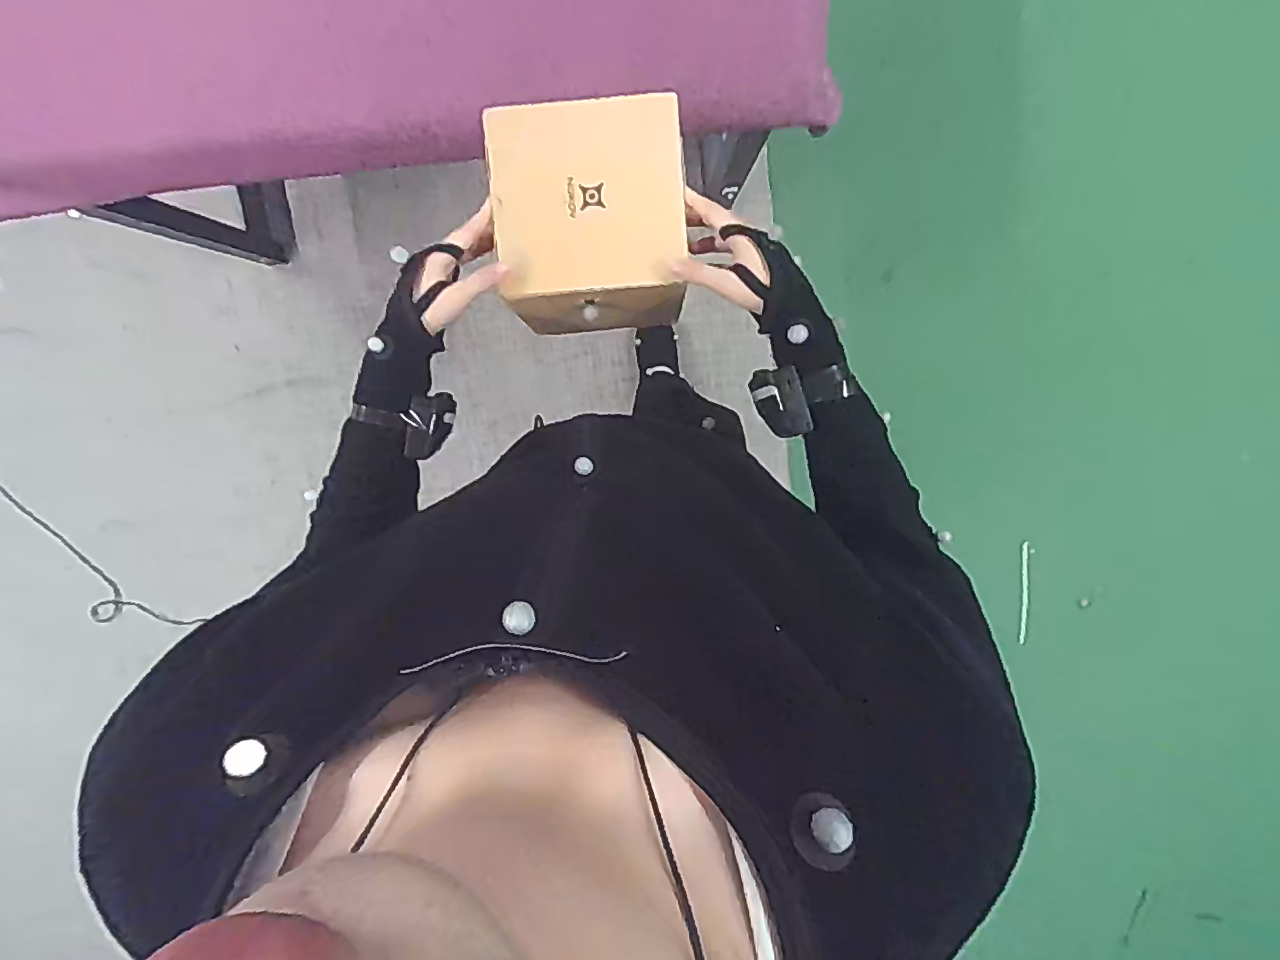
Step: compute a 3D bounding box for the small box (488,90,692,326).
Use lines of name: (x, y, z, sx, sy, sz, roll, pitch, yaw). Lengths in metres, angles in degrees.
small box: (-0.043, -0.263, 0.562, 0.179, 0.176, 0.168, -4, 94, 2)
